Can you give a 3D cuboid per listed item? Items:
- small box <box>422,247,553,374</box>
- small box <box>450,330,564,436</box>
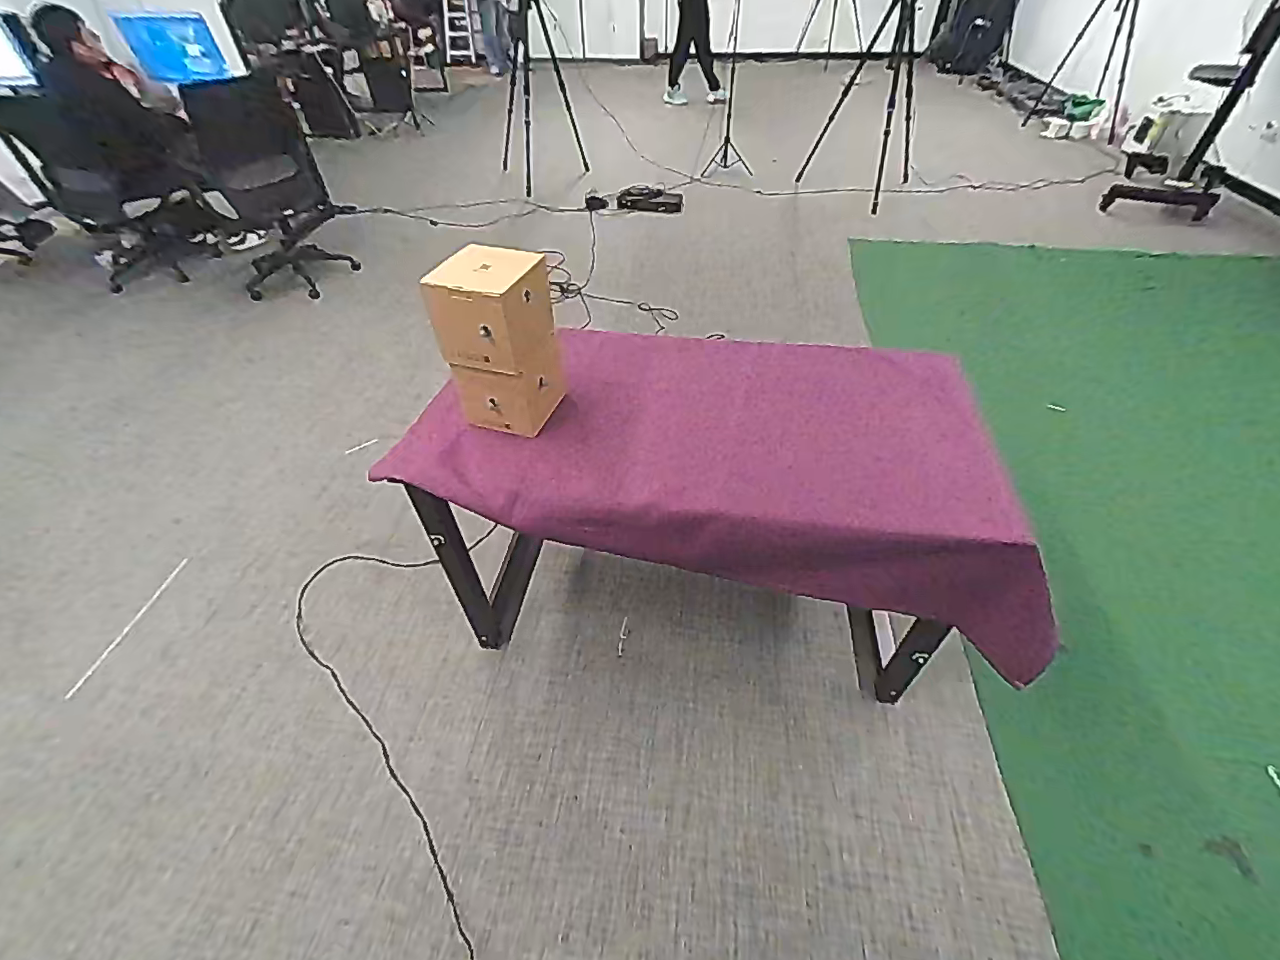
[{"bbox_3d":[-0.281,-0.327,1.048,0.168,0.176,0.179,14,47,14],"label":"small box"},{"bbox_3d":[-0.275,-0.218,1.171,0.168,0.176,0.179,13,47,13],"label":"small box"}]
